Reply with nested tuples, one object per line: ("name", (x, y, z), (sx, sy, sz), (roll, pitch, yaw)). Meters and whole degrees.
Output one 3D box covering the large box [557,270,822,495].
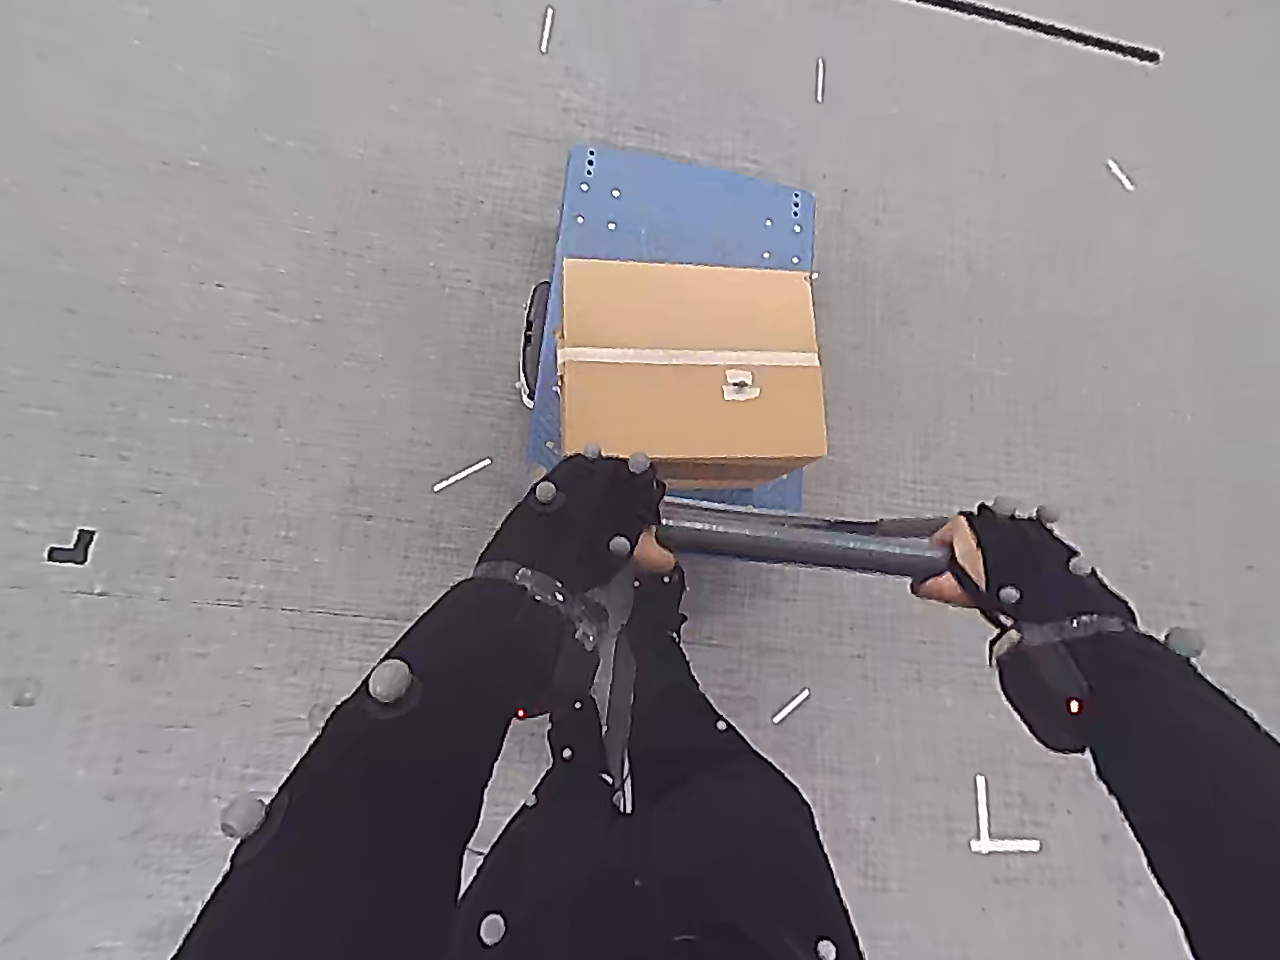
("large box", (0.058, -0.150, 0.982), (0.408, 0.320, 0.320), (0, 81, -10))
